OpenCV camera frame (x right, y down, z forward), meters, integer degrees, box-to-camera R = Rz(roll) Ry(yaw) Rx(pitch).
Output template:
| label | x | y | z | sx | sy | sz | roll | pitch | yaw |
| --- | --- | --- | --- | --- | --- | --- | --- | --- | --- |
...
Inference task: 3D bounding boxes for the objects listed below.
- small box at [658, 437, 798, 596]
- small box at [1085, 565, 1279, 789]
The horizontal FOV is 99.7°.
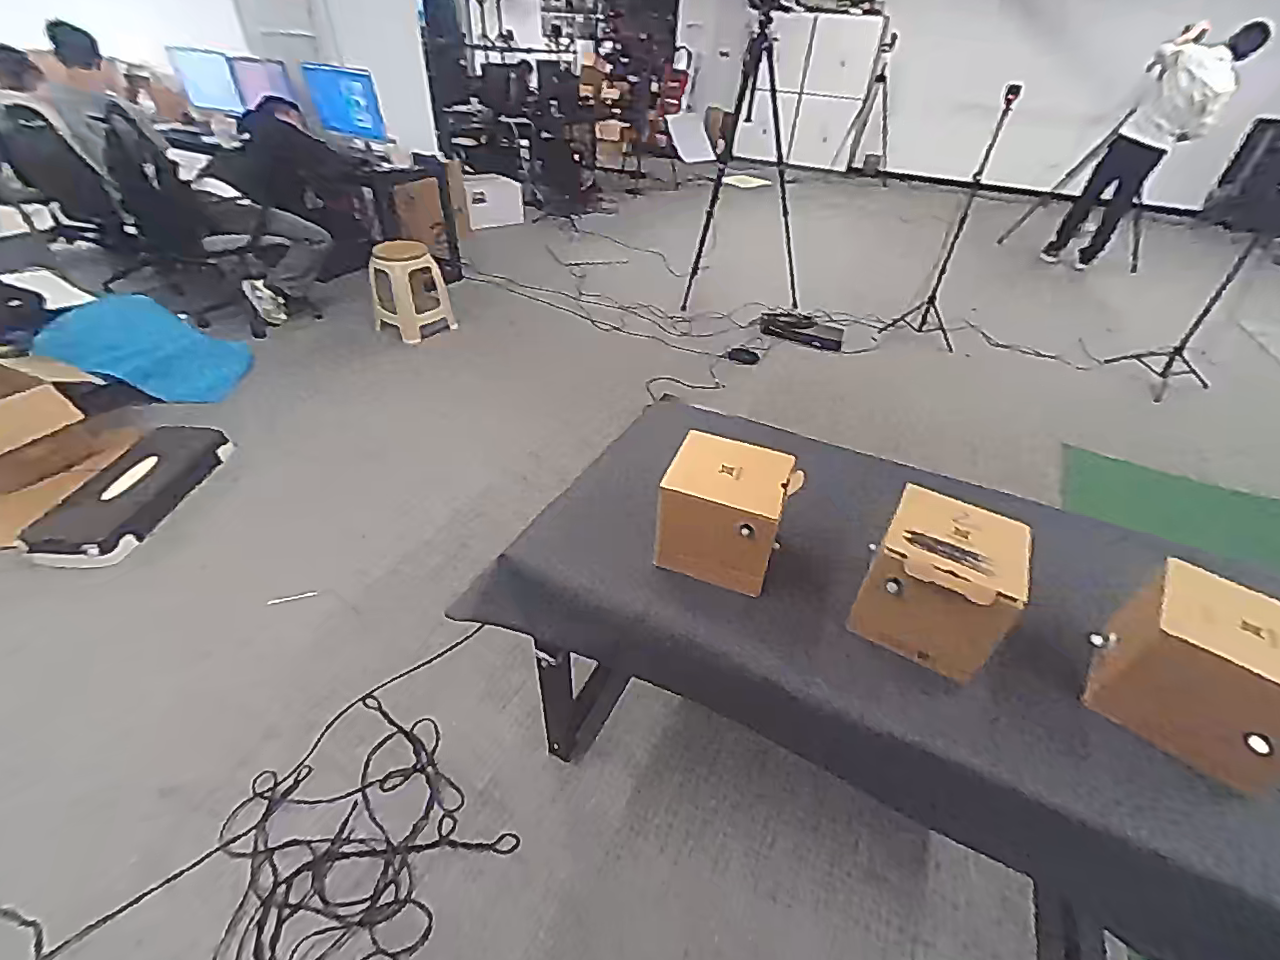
| label | x | y | z | sx | sy | sz | roll | pitch | yaw |
| --- | --- | --- | --- | --- | --- | --- | --- | --- | --- |
| small box | 0.137 | 0.058 | 0.864 | 0.179 | 0.176 | 0.168 | 16 | 40 | 14 |
| small box | 0.711 | 0.246 | 0.674 | 0.179 | 0.176 | 0.168 | 30 | 44 | 31 |
